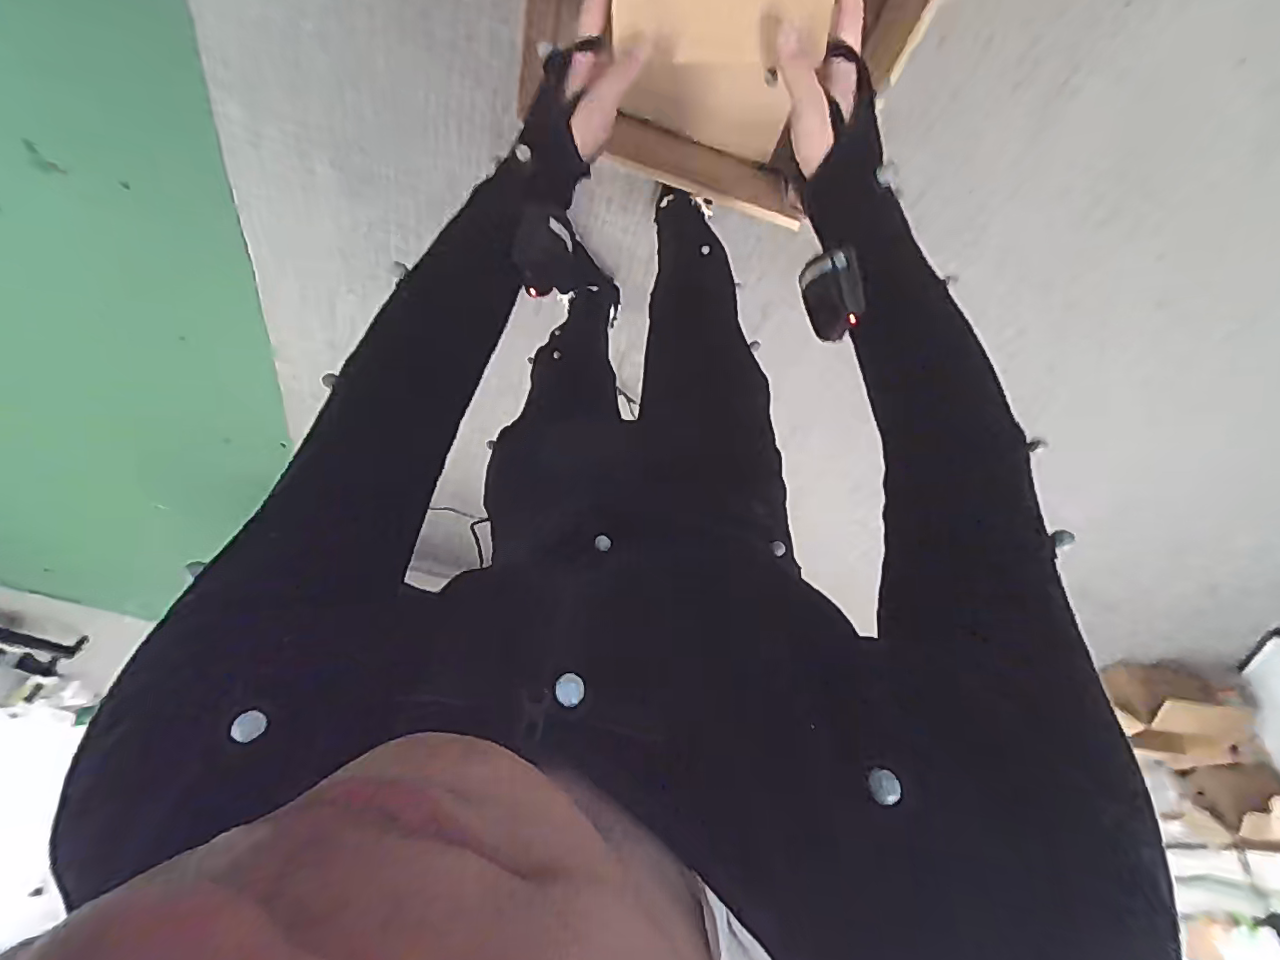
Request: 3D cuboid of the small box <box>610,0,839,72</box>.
[{"bbox_3d":[0.074,-0.445,0.445,0.179,0.176,0.168,5,131,5],"label":"small box"}]
